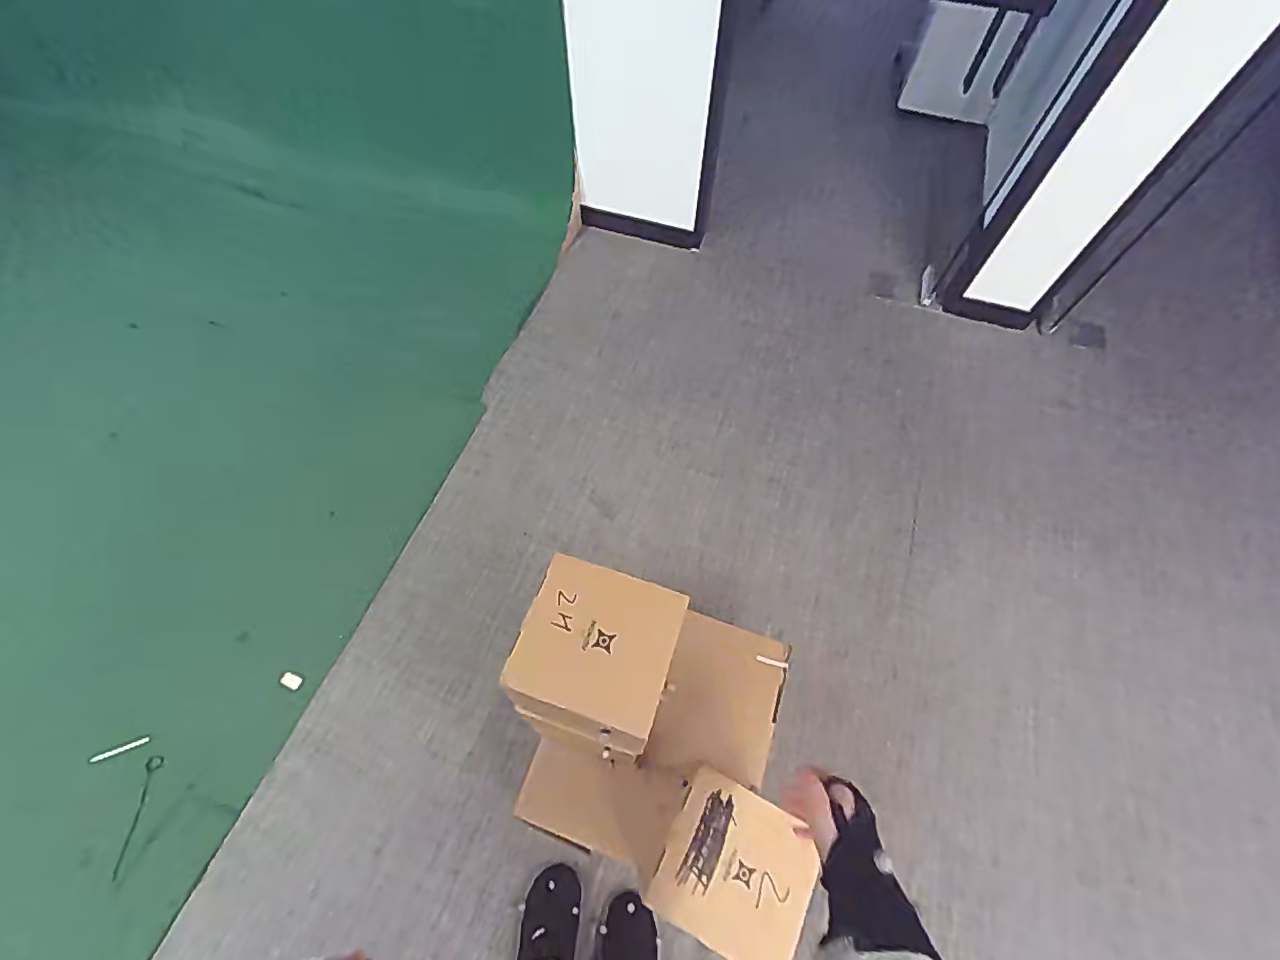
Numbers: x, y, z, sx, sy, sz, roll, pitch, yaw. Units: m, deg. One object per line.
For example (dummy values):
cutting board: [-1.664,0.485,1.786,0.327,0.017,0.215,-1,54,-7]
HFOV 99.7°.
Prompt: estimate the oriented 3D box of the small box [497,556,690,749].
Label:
small box: [-0.051,0.224,0.682,0.179,0.176,0.168,18,59,9]

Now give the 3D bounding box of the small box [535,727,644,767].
small box: [-0.064,0.396,0.960,0.179,0.176,0.168,15,59,8]

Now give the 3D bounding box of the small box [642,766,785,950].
small box: [0.108,0.581,0.855,0.168,0.176,0.179,21,61,10]

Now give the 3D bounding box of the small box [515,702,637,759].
small box: [-0.066,0.310,0.822,0.179,0.176,0.168,17,59,7]
